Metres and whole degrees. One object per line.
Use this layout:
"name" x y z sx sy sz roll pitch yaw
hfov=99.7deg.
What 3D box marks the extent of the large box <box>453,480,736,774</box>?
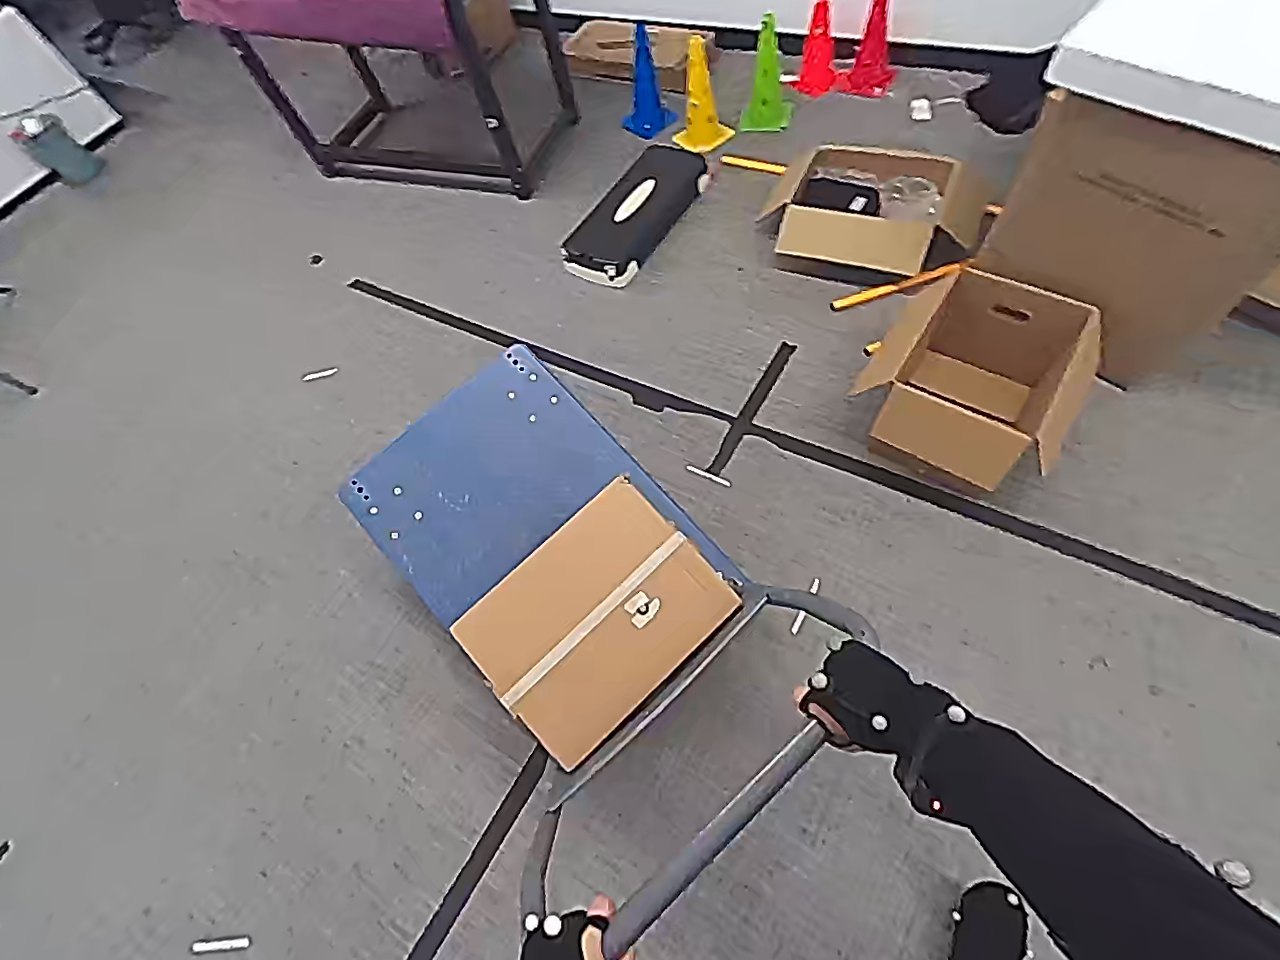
"large box" -0.077 0.273 1.069 0.408 0.320 0.320 -43 81 -9
